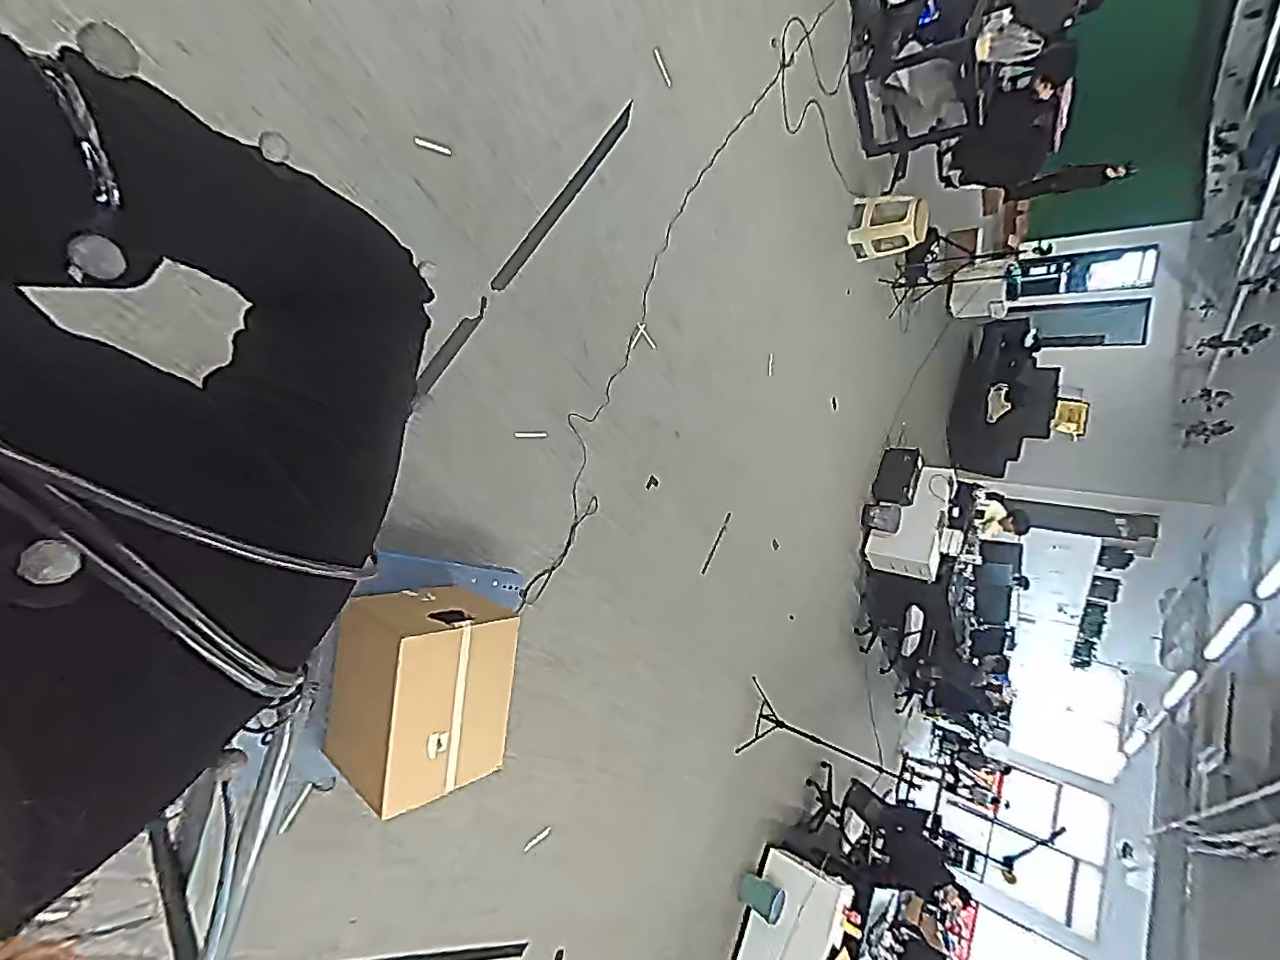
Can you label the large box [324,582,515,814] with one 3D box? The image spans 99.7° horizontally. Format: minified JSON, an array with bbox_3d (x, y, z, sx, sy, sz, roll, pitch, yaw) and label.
[{"bbox_3d":[-0.548,0.501,1.343,0.320,0.320,0.408,4,95,-50],"label":"large box"}]
